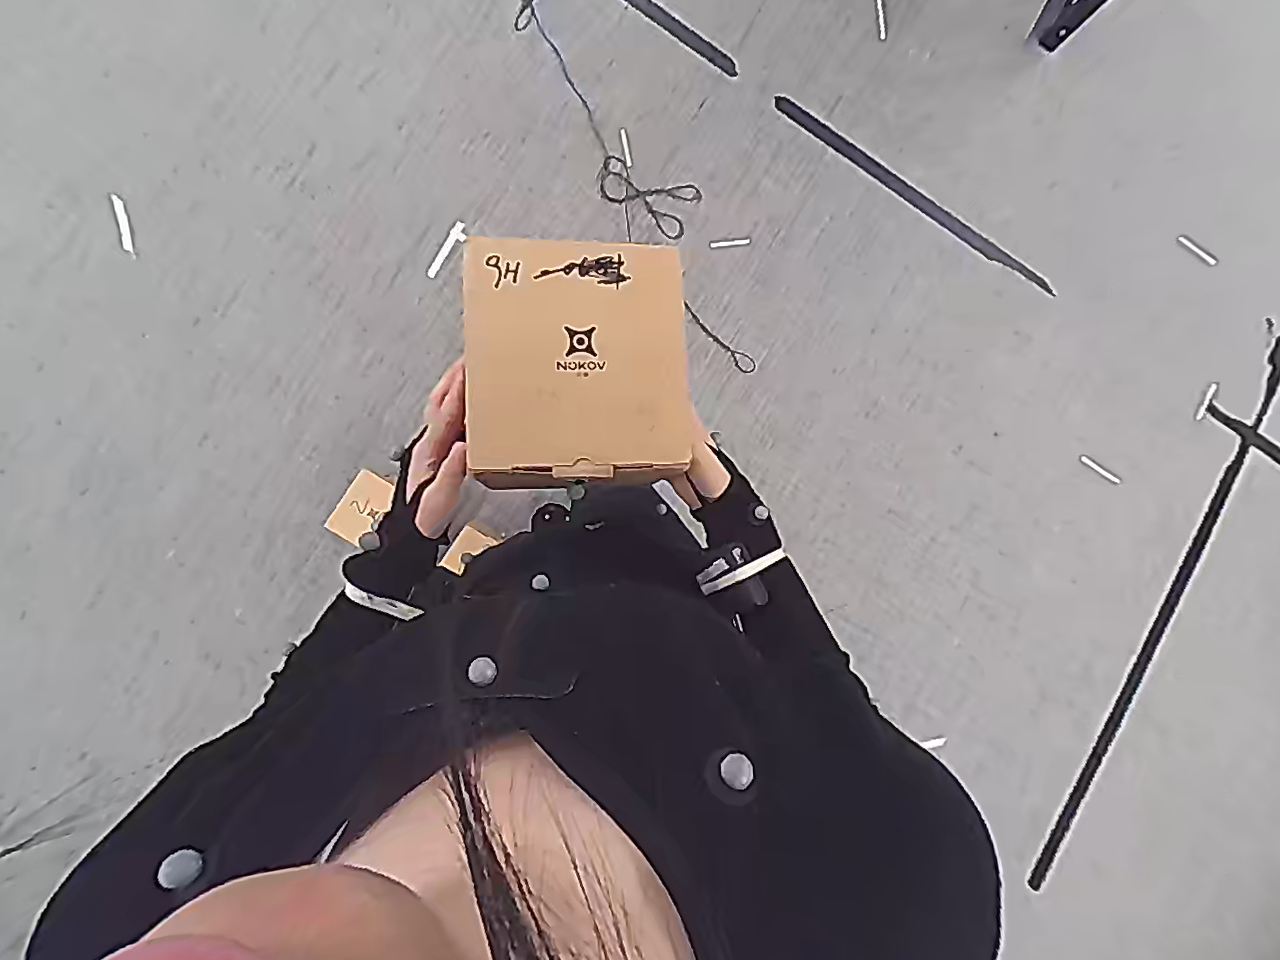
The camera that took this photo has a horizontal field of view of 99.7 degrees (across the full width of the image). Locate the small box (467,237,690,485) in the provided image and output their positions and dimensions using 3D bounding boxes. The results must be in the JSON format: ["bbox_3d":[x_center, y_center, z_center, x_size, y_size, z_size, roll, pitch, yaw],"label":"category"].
[{"bbox_3d":[-0.056,-0.086,0.478,0.168,0.176,0.179,-1,85,-10],"label":"small box"}]

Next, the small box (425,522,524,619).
[{"bbox_3d":[-0.410,0.222,1.381,0.168,0.176,0.179,34,85,-6],"label":"small box"}]
